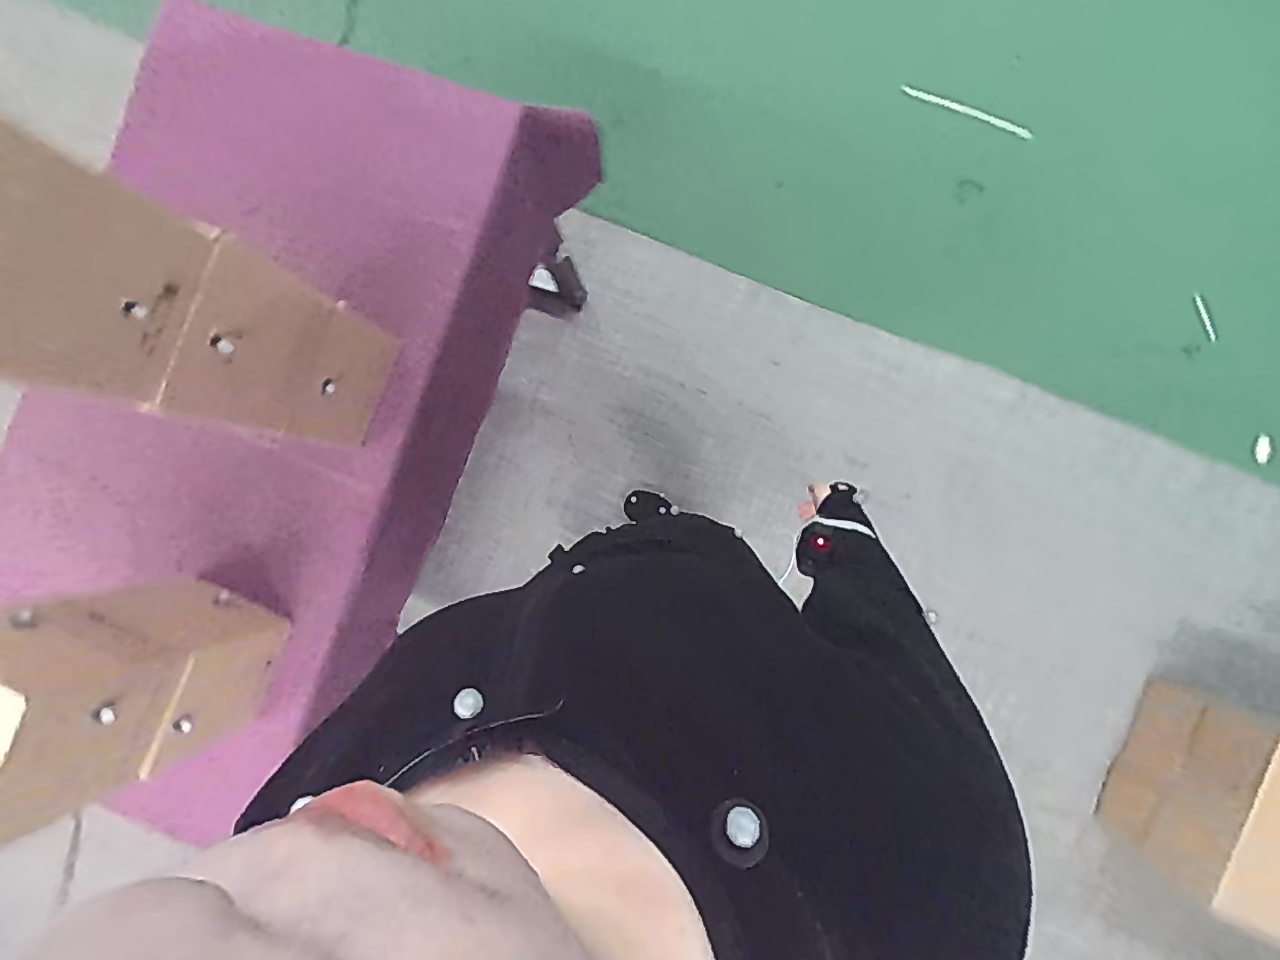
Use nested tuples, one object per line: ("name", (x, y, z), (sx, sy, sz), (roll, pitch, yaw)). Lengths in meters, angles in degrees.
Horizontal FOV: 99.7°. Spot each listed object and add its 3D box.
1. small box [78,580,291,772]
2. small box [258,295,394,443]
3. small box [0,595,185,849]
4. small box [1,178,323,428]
("small box", (-0.630, 0.246, 0.731), (0.179, 0.176, 0.168), (22, 90, 5))
("small box", (-0.469, -0.160, 0.735), (0.168, 0.176, 0.179), (21, 89, 4))
("small box", (-0.640, 0.239, 0.567), (0.168, 0.176, 0.179), (23, 90, 4))
("small box", (-0.478, -0.168, 0.572), (0.168, 0.176, 0.179), (21, 90, 4))
